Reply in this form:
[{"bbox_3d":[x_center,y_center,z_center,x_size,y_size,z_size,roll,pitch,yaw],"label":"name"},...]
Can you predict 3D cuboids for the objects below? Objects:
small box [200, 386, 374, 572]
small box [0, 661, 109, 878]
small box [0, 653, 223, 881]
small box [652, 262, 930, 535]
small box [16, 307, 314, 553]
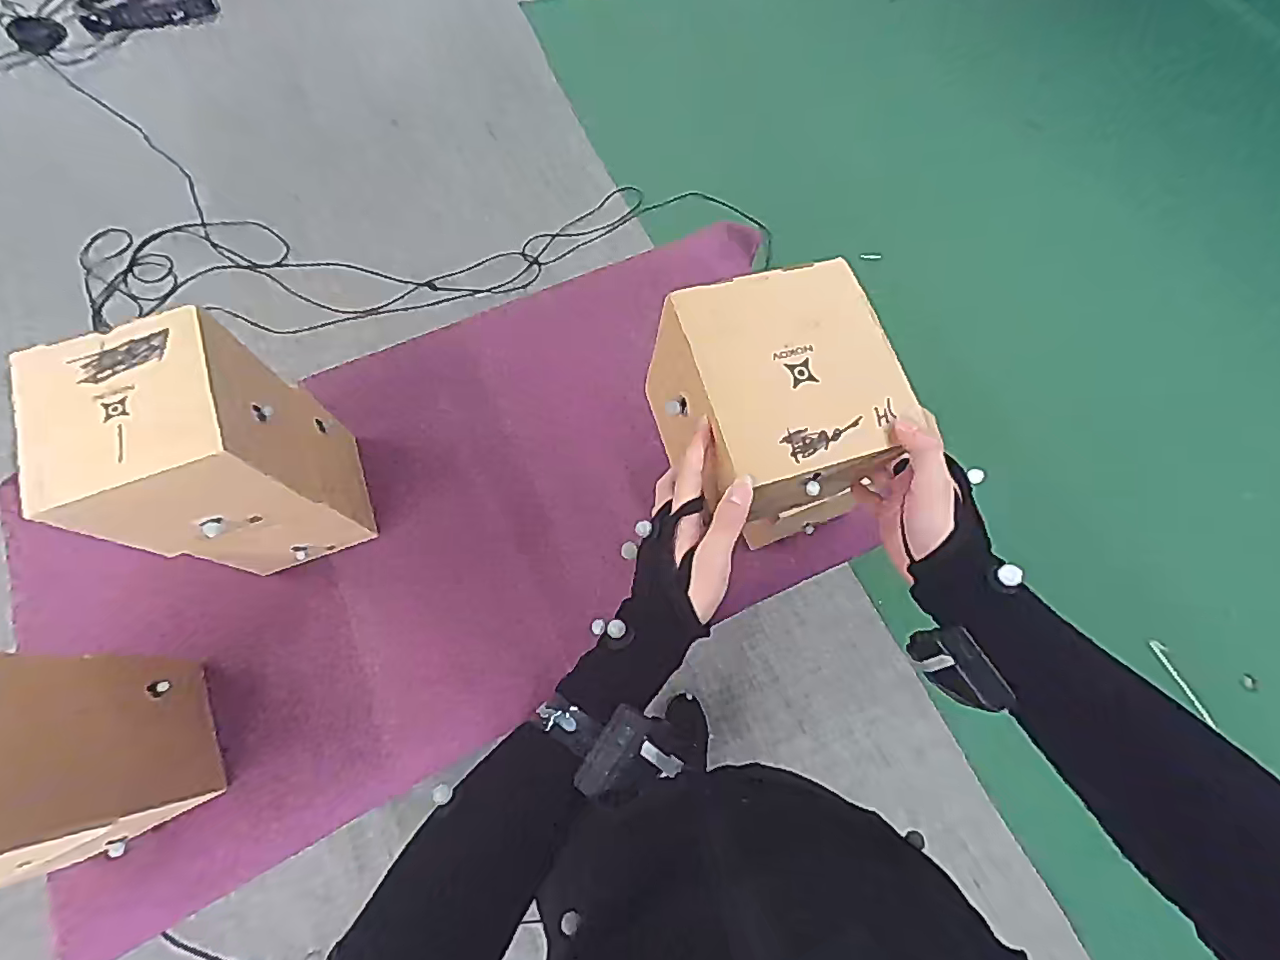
[{"bbox_3d":[-0.487,0.006,0.730,0.168,0.176,0.179,-19,73,-9],"label":"small box"},{"bbox_3d":[-0.610,0.264,0.457,0.168,0.176,0.179,-24,71,-10],"label":"small box"},{"bbox_3d":[-0.622,0.317,0.610,0.168,0.176,0.179,-24,72,-10],"label":"small box"},{"bbox_3d":[0.117,-0.066,0.504,0.168,0.176,0.179,-15,74,-10],"label":"small box"},{"bbox_3d":[-0.483,-0.043,0.573,0.168,0.176,0.179,-21,73,-9],"label":"small box"}]
